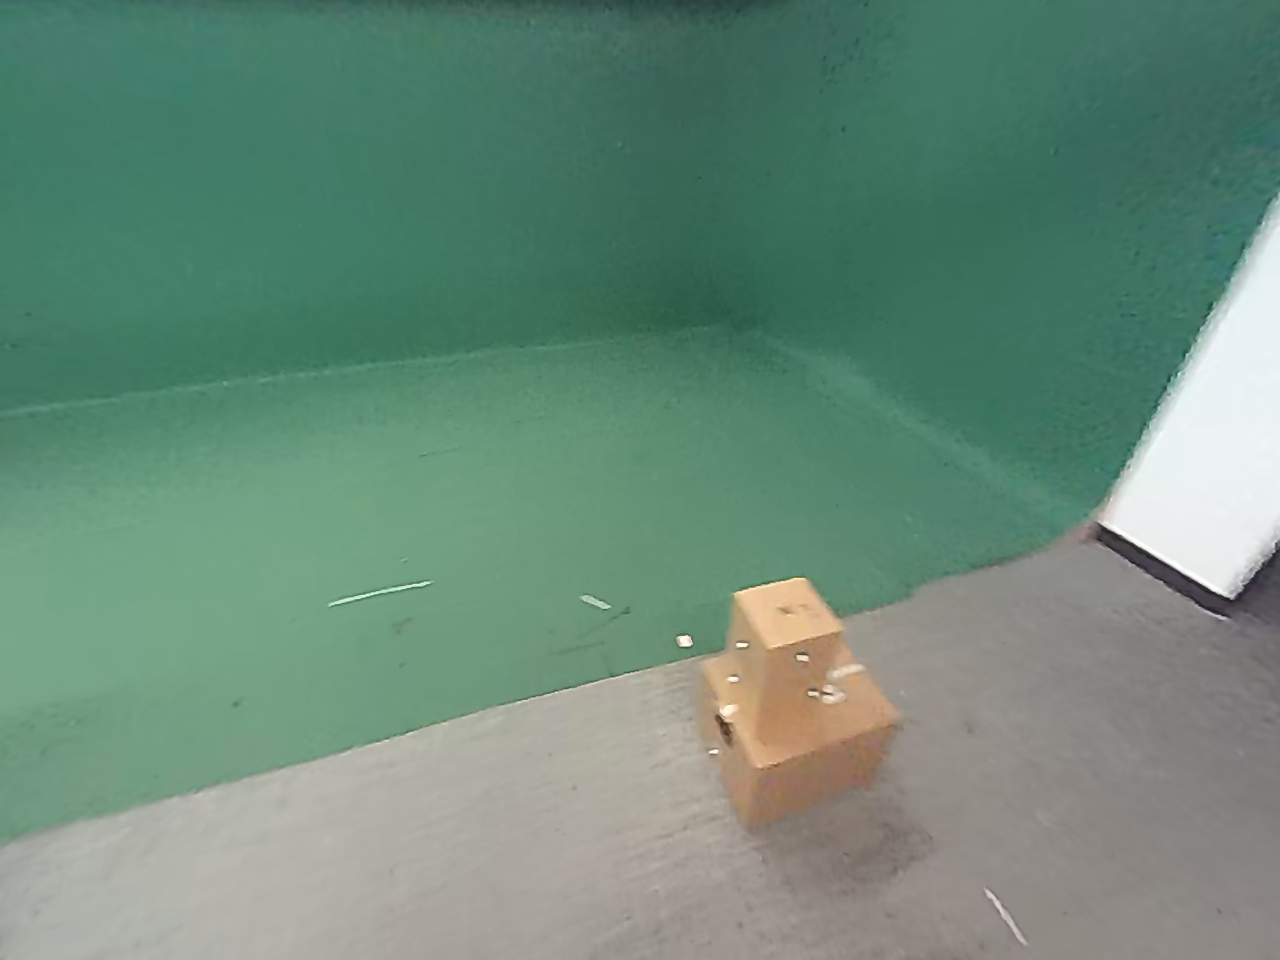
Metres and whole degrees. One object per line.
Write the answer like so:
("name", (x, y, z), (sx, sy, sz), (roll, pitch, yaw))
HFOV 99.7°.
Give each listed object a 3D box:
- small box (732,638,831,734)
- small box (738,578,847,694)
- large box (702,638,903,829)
("small box", (0.331, 0.481, 1.307), (0.179, 0.176, 0.168), (-9, 35, -13))
("small box", (0.329, 0.349, 1.208), (0.179, 0.176, 0.168), (-9, 35, -13))
("large box", (0.415, 0.662, 1.473), (0.408, 0.320, 0.320), (-10, 35, -14))
